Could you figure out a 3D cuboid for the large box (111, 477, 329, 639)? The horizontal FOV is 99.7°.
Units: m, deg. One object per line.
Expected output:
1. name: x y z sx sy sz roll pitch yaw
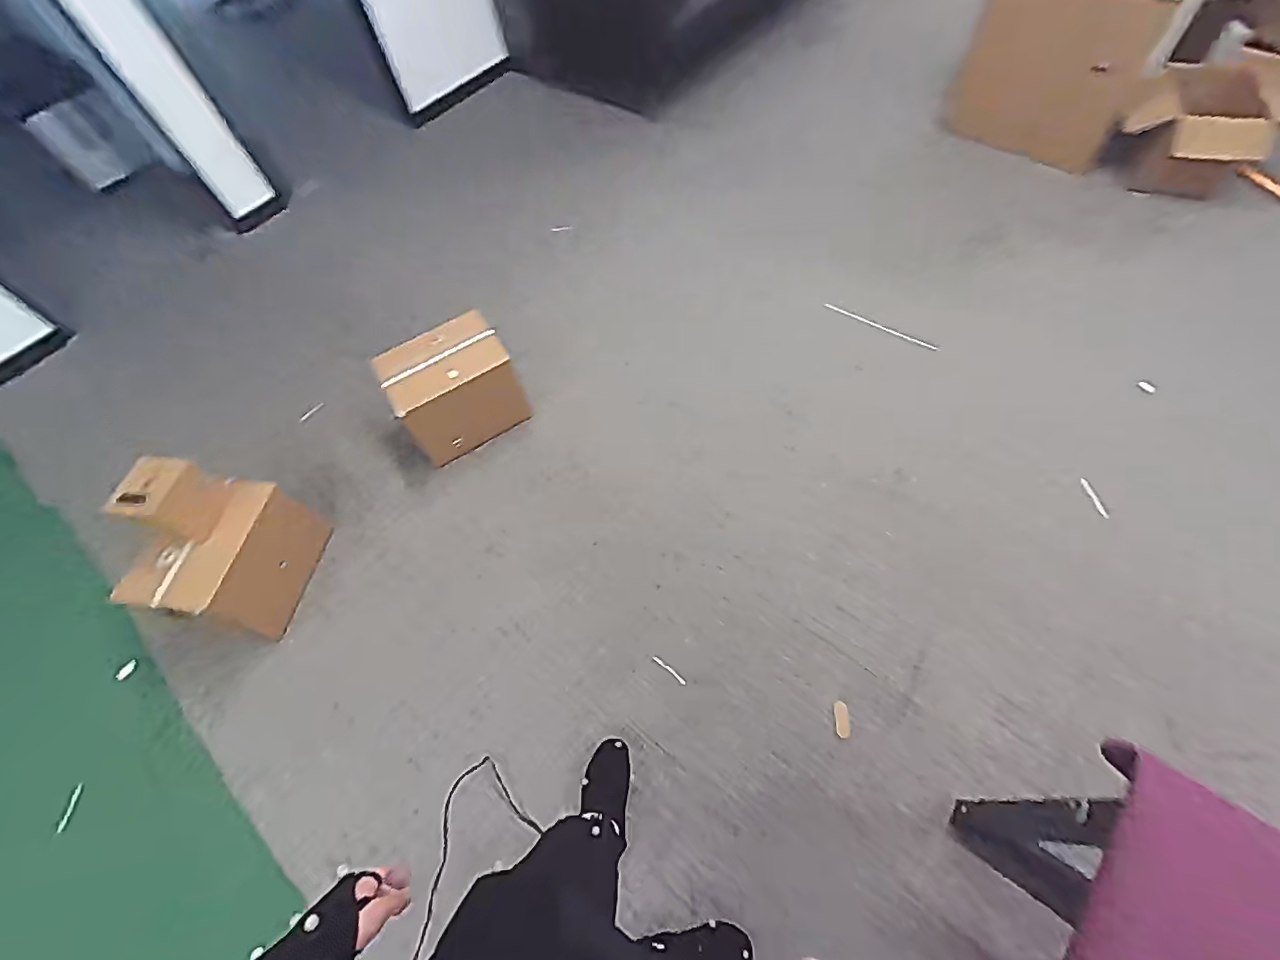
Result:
1. large box: -1.264 0.244 1.682 0.320 0.320 0.408 4 60 10
